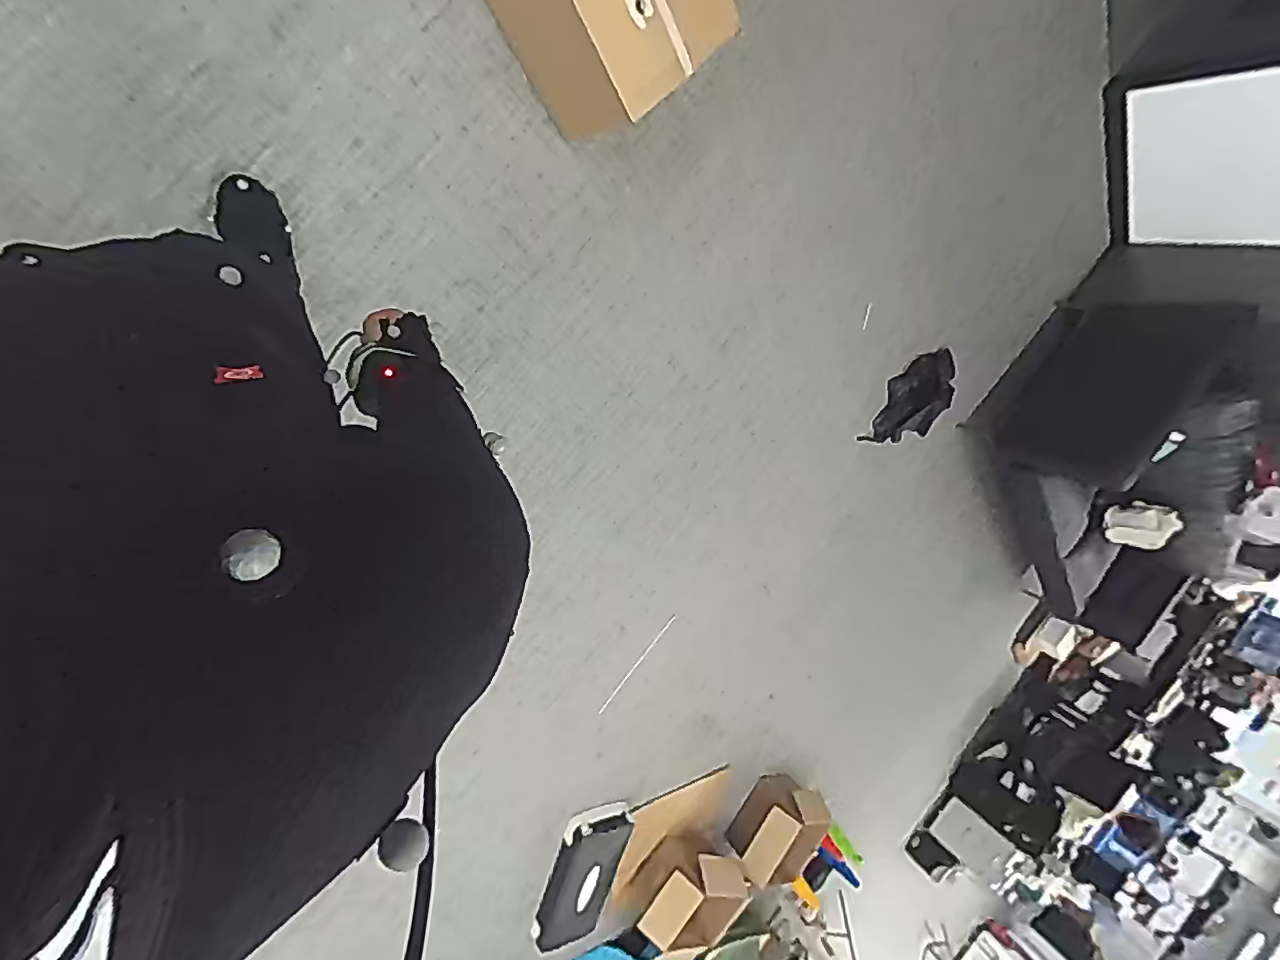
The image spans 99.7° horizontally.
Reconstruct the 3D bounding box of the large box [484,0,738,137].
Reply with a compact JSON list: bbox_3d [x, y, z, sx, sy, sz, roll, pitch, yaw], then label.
[{"bbox_3d":[-0.088,-0.957,1.028,0.320,0.320,0.408,-45,130,-7],"label":"large box"}]
